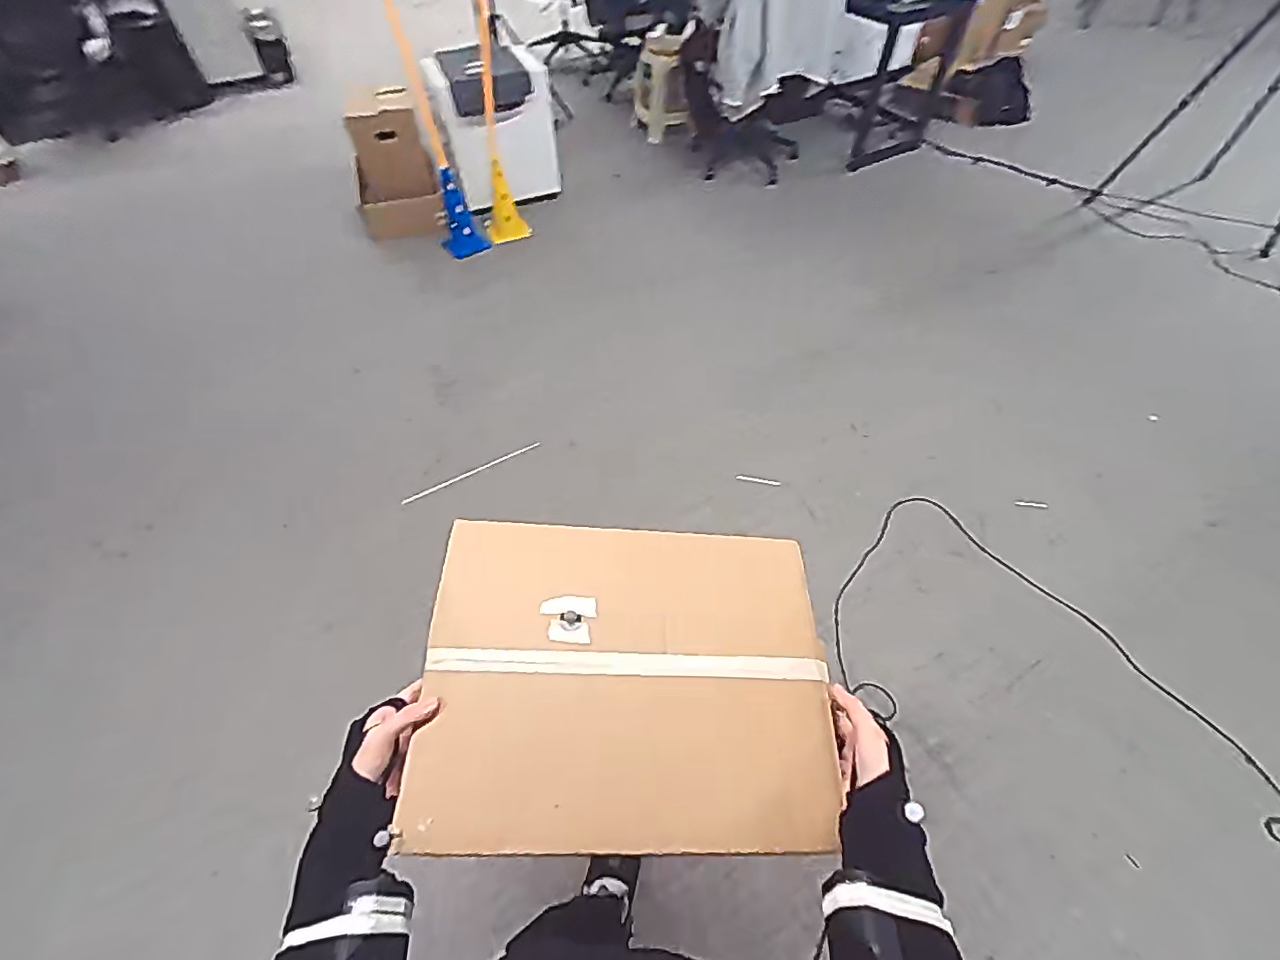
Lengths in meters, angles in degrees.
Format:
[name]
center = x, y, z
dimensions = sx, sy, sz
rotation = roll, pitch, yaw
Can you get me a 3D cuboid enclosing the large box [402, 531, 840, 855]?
[large box]
center = -0.024, 0.277, 0.687
dimensions = 0.408, 0.320, 0.320
rotation = 4, 57, -5
